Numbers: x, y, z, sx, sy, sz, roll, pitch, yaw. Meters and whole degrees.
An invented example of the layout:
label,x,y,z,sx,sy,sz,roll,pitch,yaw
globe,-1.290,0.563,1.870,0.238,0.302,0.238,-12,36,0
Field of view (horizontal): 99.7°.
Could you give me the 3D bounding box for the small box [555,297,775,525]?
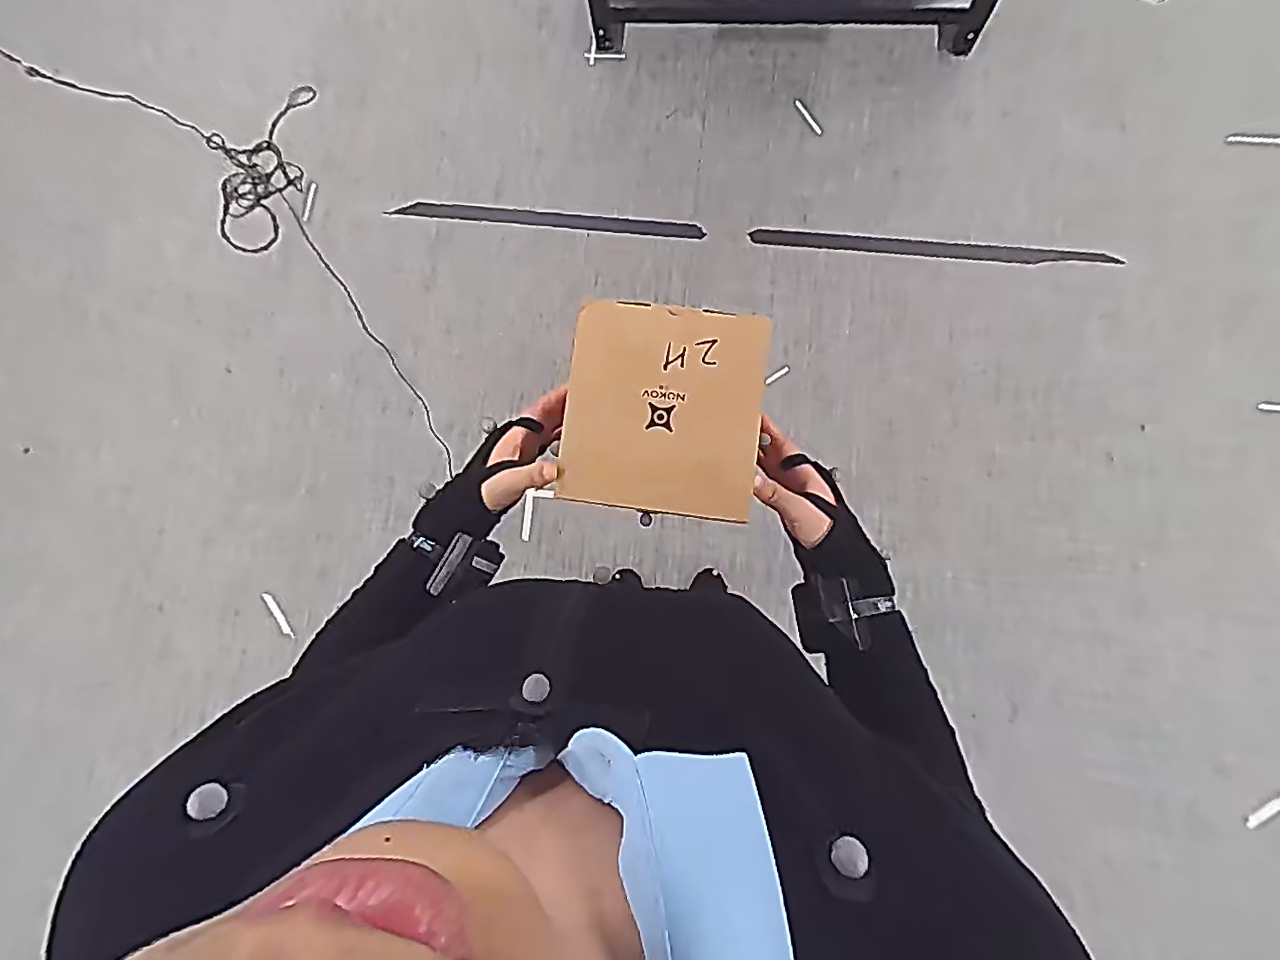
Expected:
label,x,y,z,sx,sy,sz,roll,pitch,yaw
small box,0.025,-0.054,0.528,0.168,0.176,0.179,8,86,3
